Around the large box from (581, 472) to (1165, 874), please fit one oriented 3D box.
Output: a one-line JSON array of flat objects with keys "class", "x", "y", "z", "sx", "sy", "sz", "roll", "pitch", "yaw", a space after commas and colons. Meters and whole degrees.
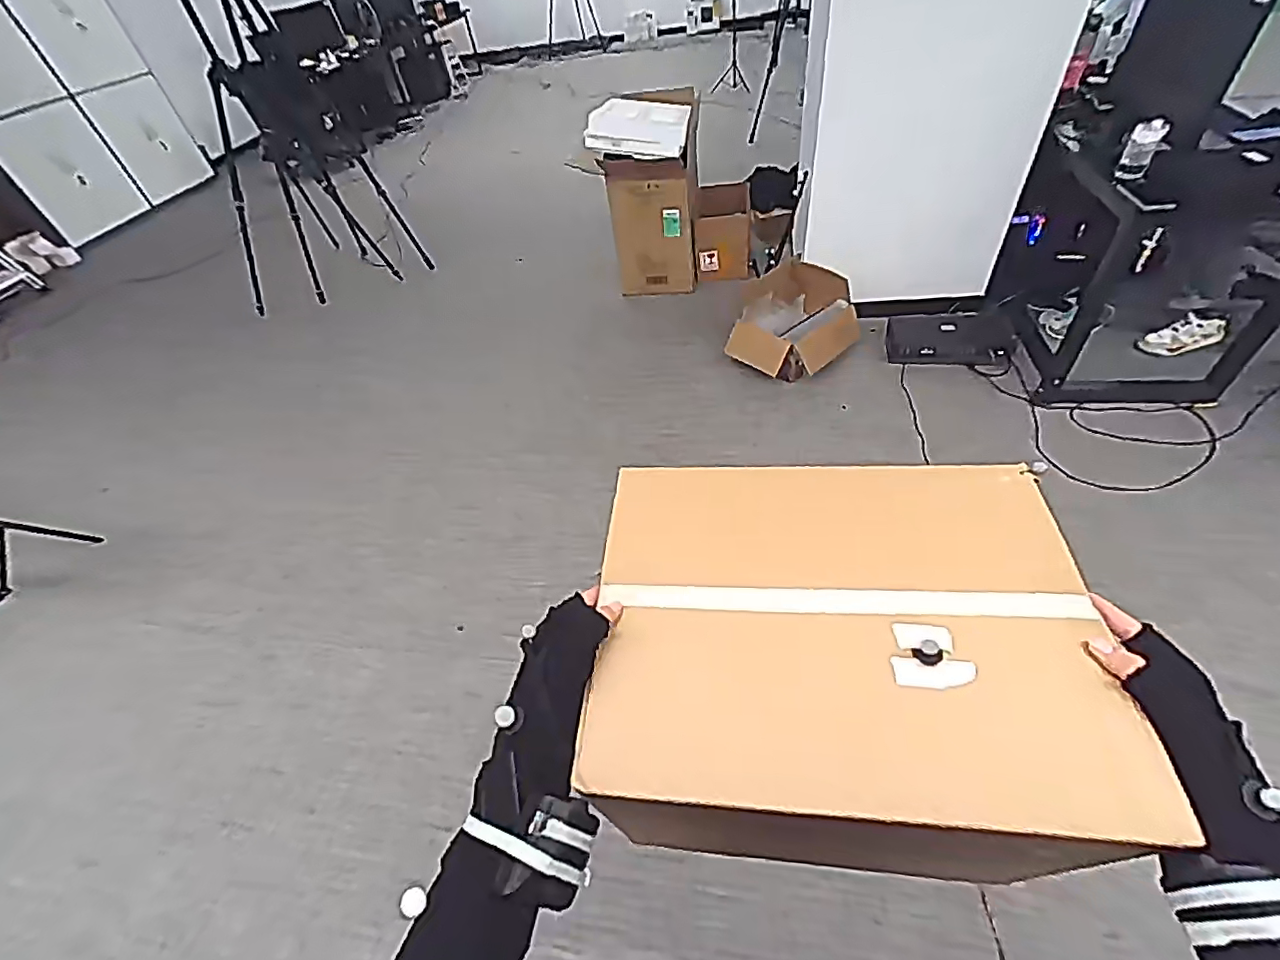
[{"class": "large box", "x": 0.178, "y": 0.208, "z": 0.586, "sx": 0.408, "sy": 0.320, "sz": 0.320, "roll": -1, "pitch": 50, "yaw": 9}]
